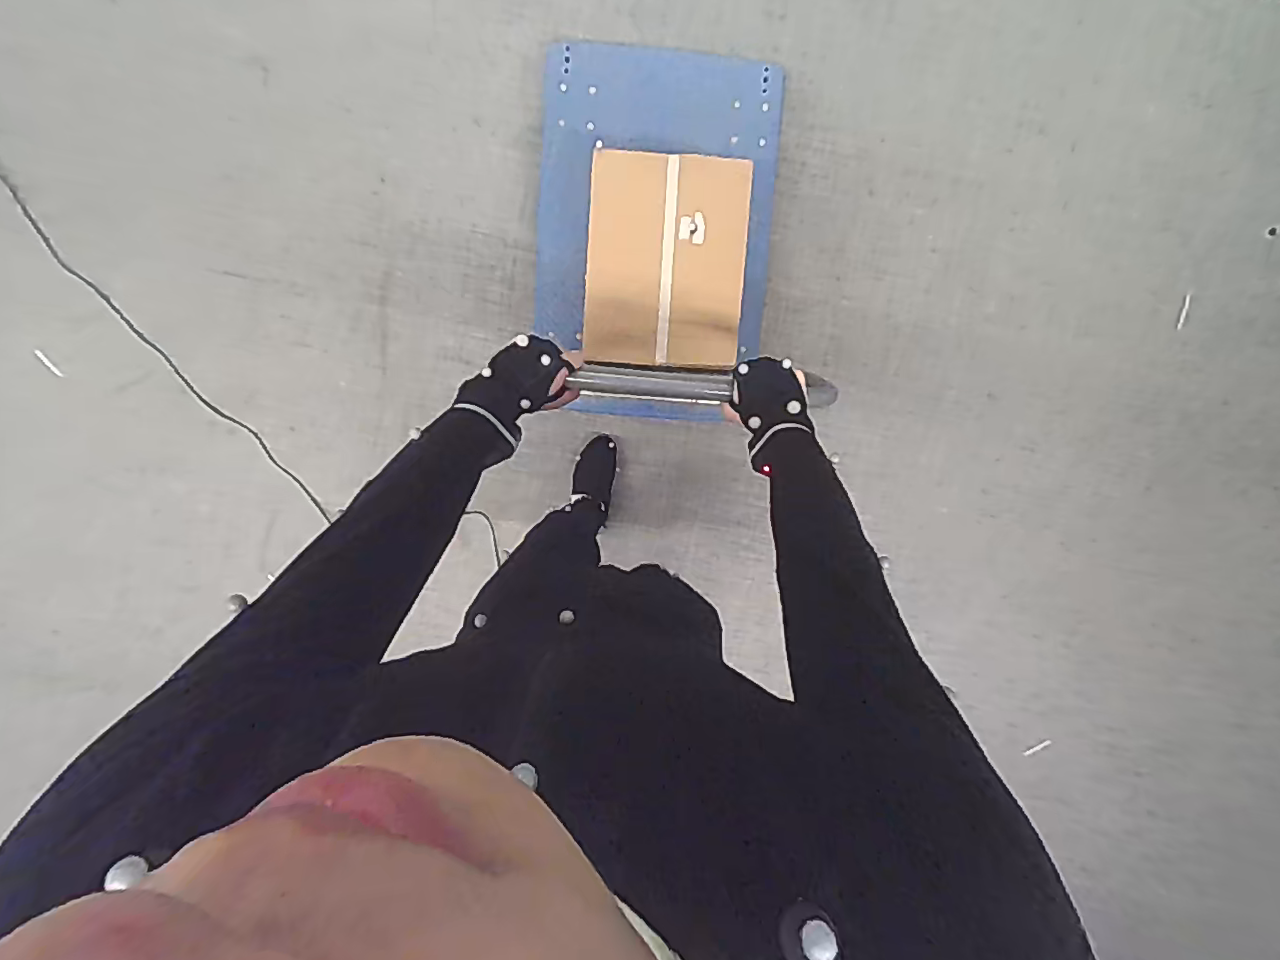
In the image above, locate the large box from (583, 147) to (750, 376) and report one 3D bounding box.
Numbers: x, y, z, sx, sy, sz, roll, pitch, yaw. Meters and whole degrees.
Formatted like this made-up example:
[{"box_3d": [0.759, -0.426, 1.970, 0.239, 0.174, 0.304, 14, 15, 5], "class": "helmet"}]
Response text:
[{"box_3d": [0.049, -0.452, 1.214, 0.320, 0.320, 0.408, 4, 96, -2], "class": "large box"}]
